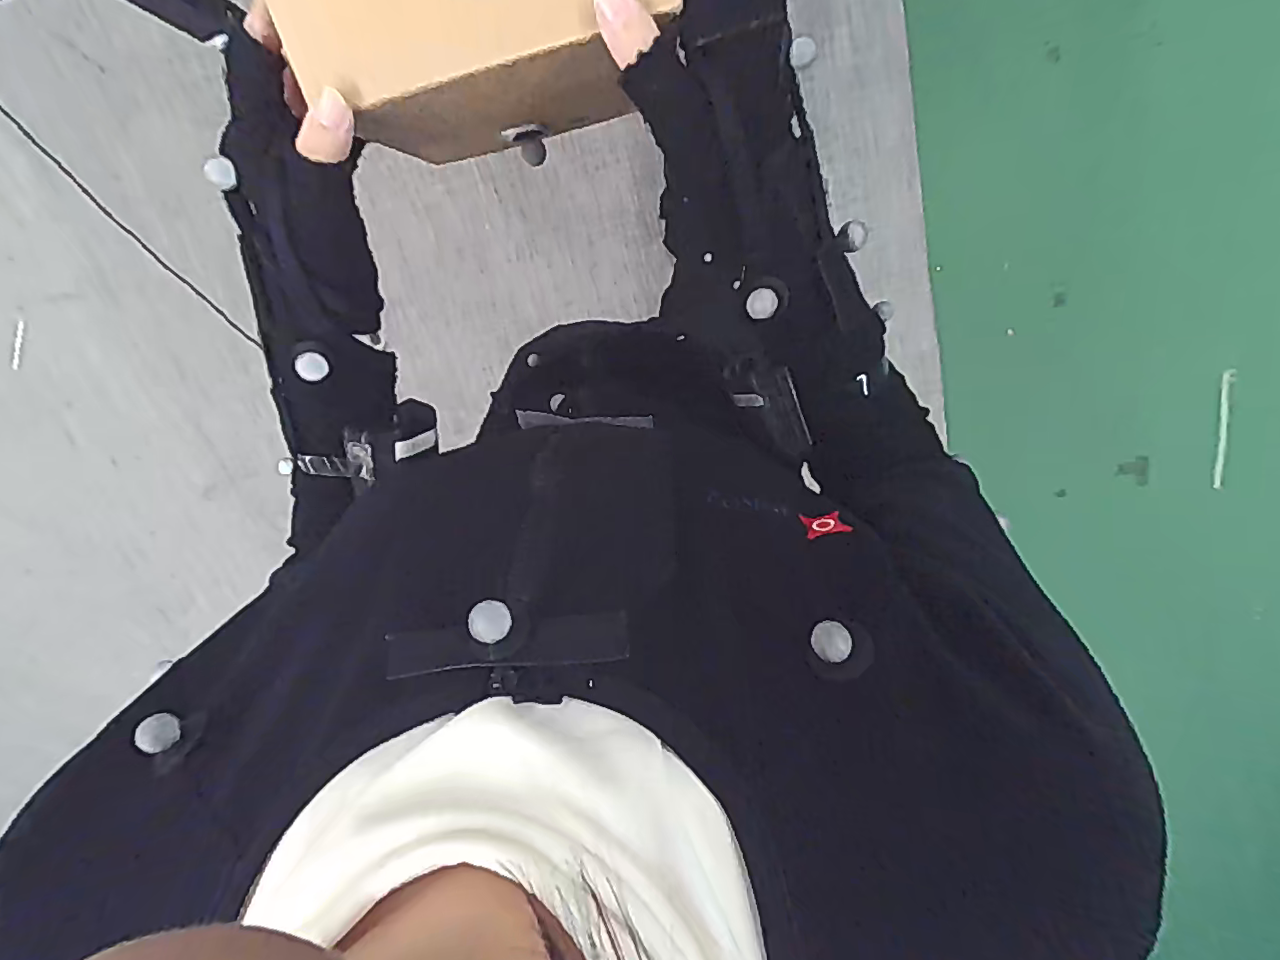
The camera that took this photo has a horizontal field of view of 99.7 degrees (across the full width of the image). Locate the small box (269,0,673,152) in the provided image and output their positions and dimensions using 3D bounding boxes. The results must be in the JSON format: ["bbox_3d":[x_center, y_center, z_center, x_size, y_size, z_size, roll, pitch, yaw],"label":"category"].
[{"bbox_3d":[-0.084,-0.292,0.269,0.168,0.176,0.179,-12,113,6],"label":"small box"}]
